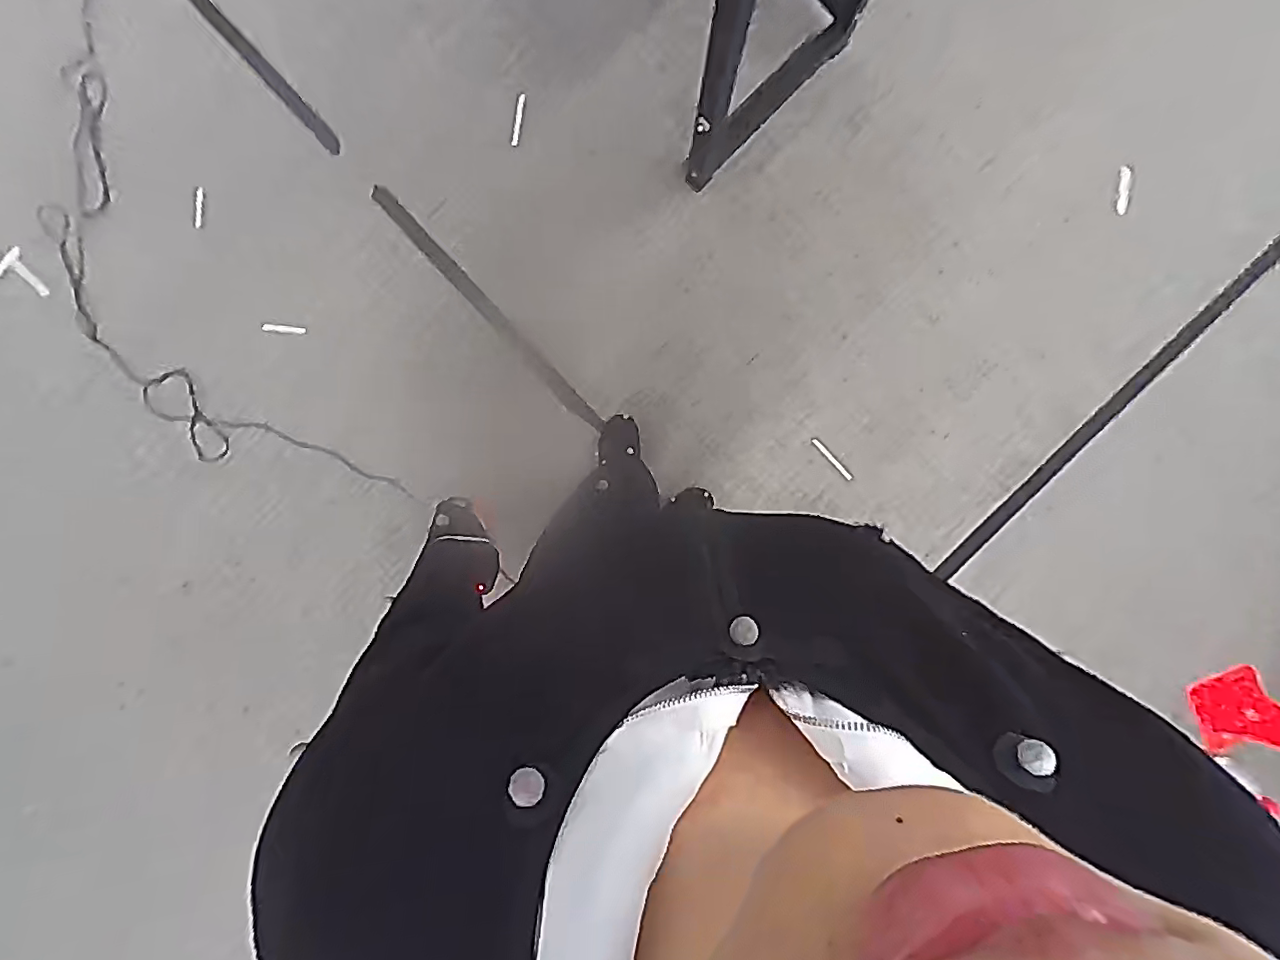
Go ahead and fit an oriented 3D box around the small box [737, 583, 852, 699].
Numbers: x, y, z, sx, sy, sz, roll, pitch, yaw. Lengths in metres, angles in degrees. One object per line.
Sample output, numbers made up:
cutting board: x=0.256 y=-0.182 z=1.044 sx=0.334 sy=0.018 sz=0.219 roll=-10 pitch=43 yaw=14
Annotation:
small box: x=0.352 y=0.365 z=1.265 sx=0.168 sy=0.176 sz=0.179 roll=-43 pitch=90 yaw=0
